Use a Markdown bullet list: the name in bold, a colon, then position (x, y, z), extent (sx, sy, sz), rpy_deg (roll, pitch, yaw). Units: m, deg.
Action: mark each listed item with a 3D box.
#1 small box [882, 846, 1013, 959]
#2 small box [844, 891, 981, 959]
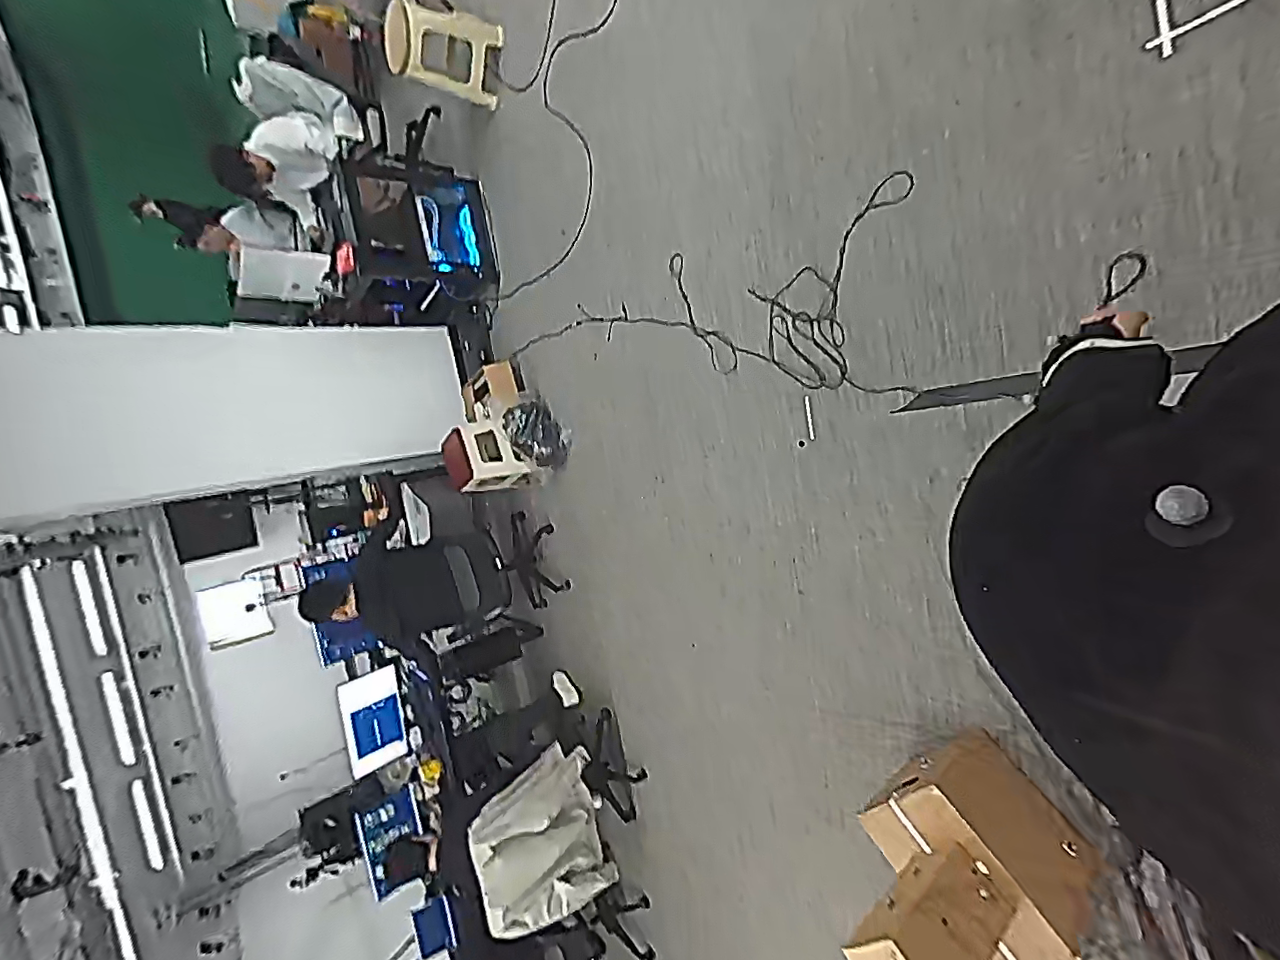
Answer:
- **small box**: position (0.713, 0.993, 1.251), extent (0.168, 0.176, 0.179), rpy_deg (52, 136, 28)
- **small box**: position (0.584, 1.025, 1.153), extent (0.168, 0.176, 0.179), rpy_deg (52, 137, 28)
